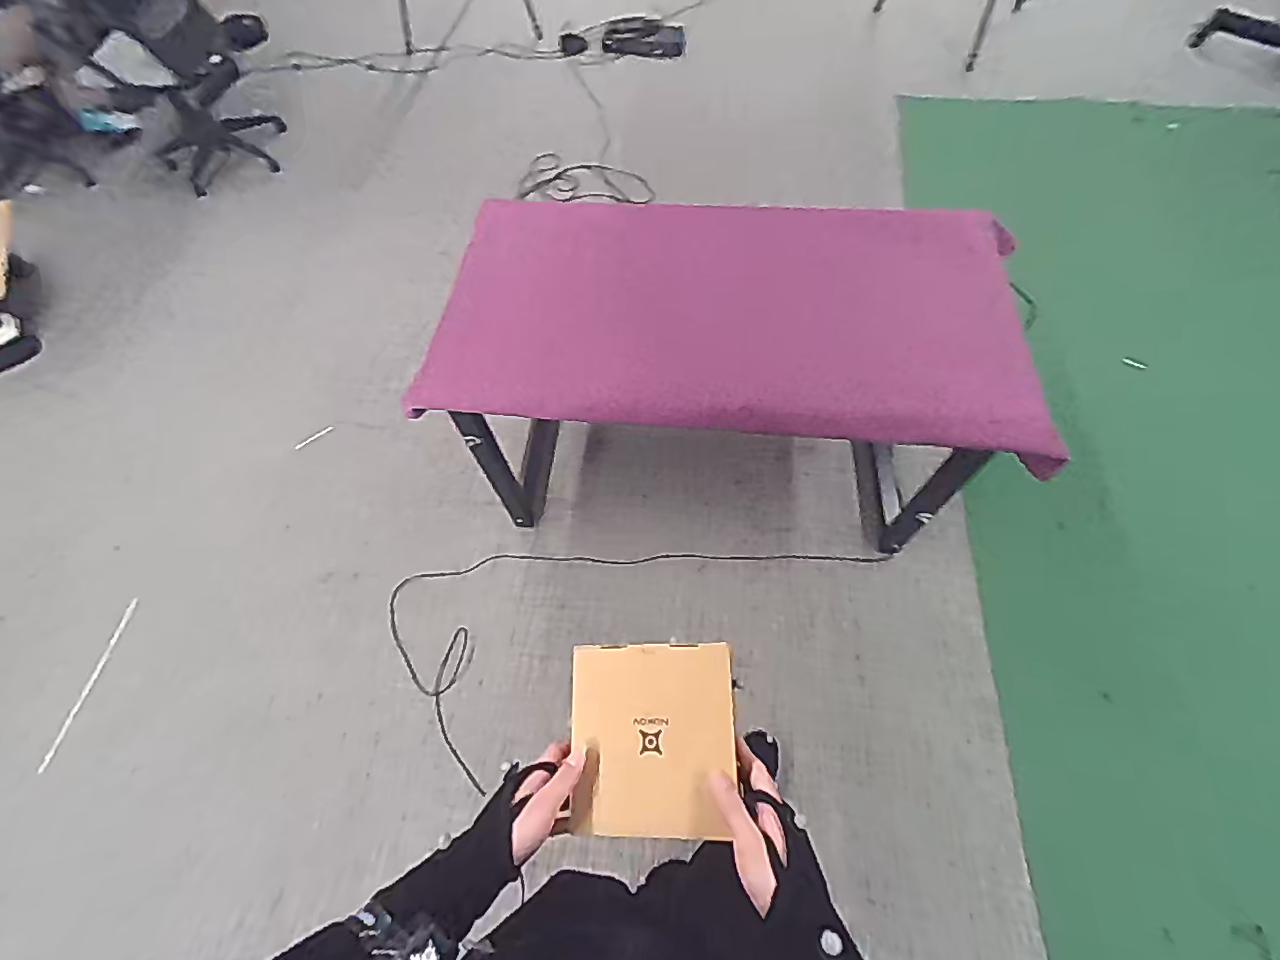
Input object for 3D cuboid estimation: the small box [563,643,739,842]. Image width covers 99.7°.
[{"bbox_3d":[0.019,0.276,0.603,0.168,0.176,0.179,-6,71,9],"label":"small box"}]
